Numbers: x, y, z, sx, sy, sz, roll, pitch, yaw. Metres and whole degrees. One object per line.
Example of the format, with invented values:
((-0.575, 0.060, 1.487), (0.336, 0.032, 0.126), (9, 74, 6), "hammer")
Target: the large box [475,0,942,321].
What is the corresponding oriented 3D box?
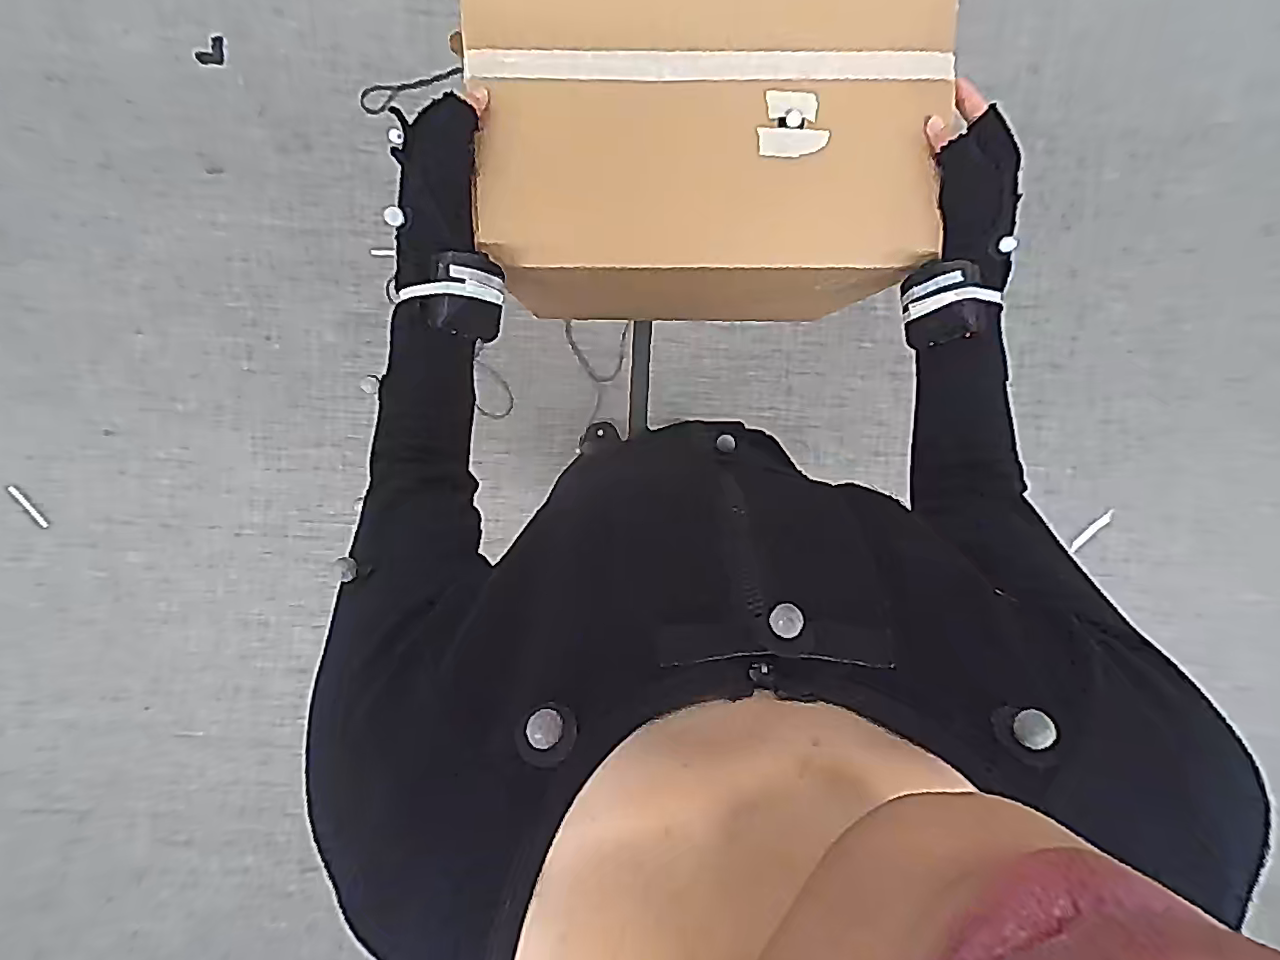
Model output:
((0.054, -0.364, 0.614), (0.408, 0.320, 0.320), (-1, 99, -2), "large box")
